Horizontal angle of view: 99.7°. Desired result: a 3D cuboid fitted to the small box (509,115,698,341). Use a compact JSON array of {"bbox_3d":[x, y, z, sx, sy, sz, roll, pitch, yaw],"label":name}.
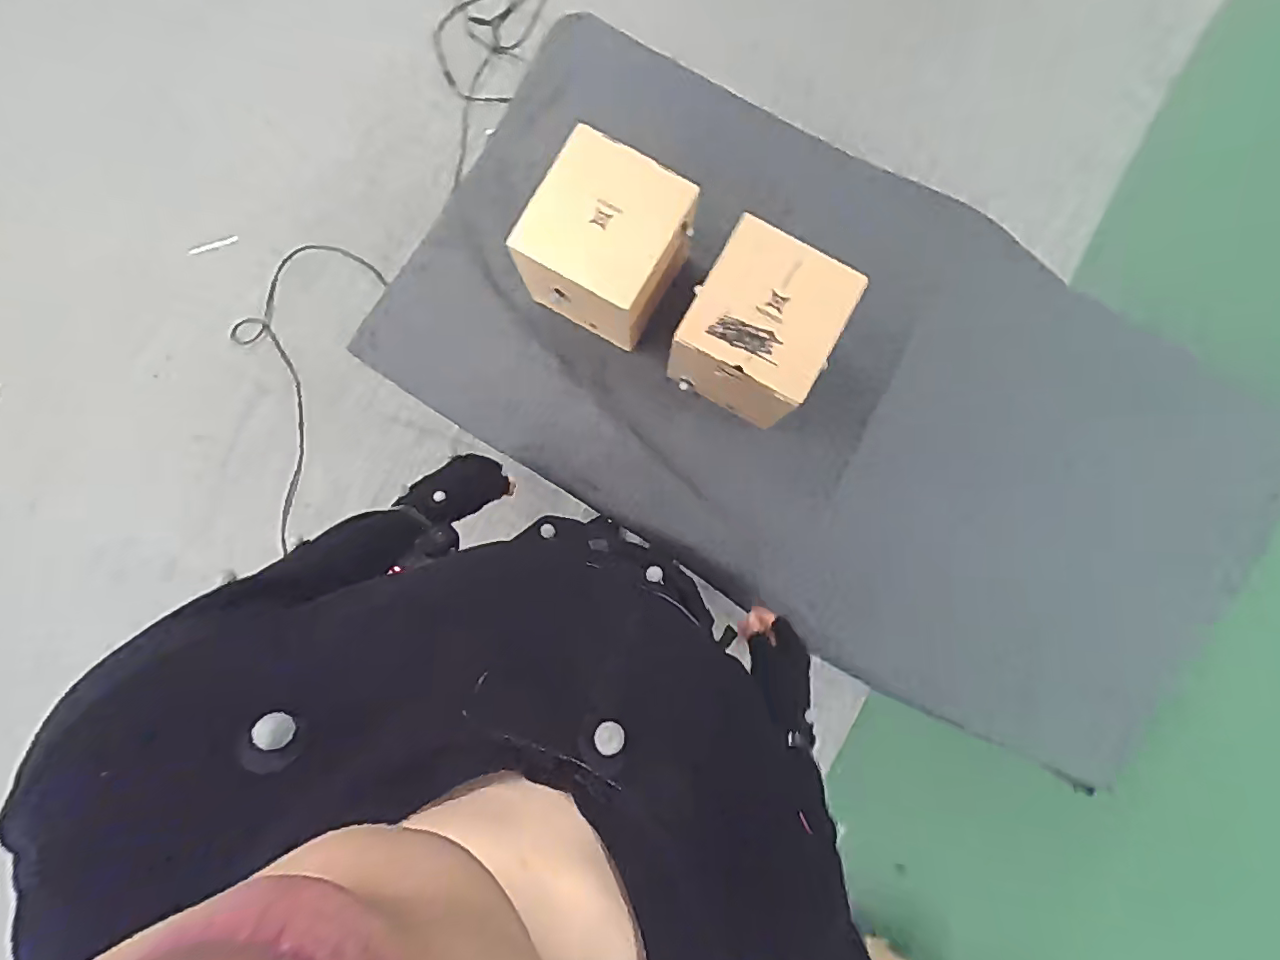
[{"bbox_3d":[-0.041,-0.309,0.706,0.168,0.176,0.179,29,86,1],"label":"small box"}]
